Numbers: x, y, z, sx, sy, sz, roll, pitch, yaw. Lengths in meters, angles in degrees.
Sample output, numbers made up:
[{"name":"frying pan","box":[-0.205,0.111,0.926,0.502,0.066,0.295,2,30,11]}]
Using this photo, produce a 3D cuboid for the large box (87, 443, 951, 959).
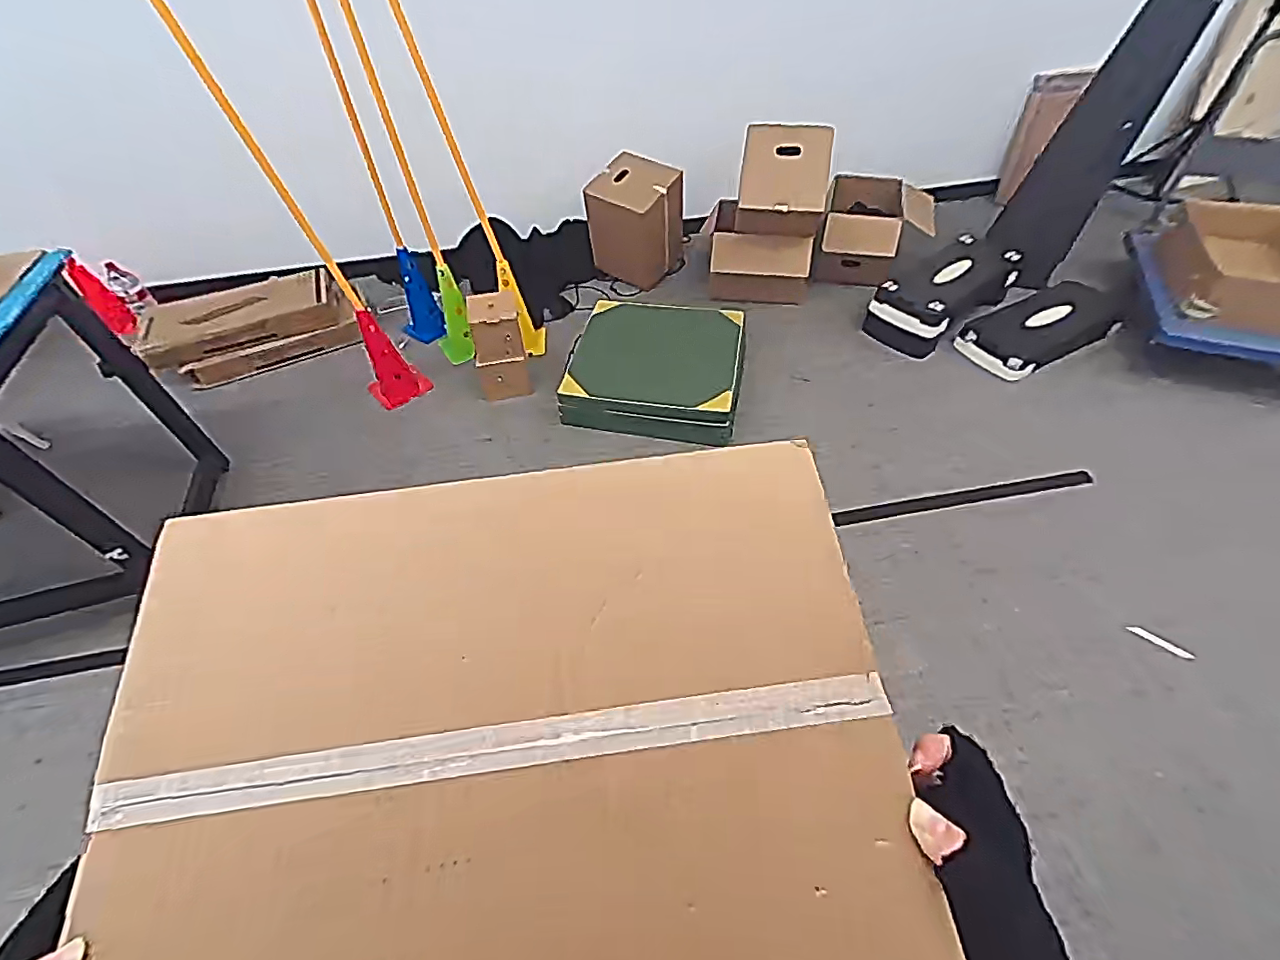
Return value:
[{"name":"large box","box":[-0.069,0.203,0.425,0.408,0.320,0.320,-8,65,-2]}]
